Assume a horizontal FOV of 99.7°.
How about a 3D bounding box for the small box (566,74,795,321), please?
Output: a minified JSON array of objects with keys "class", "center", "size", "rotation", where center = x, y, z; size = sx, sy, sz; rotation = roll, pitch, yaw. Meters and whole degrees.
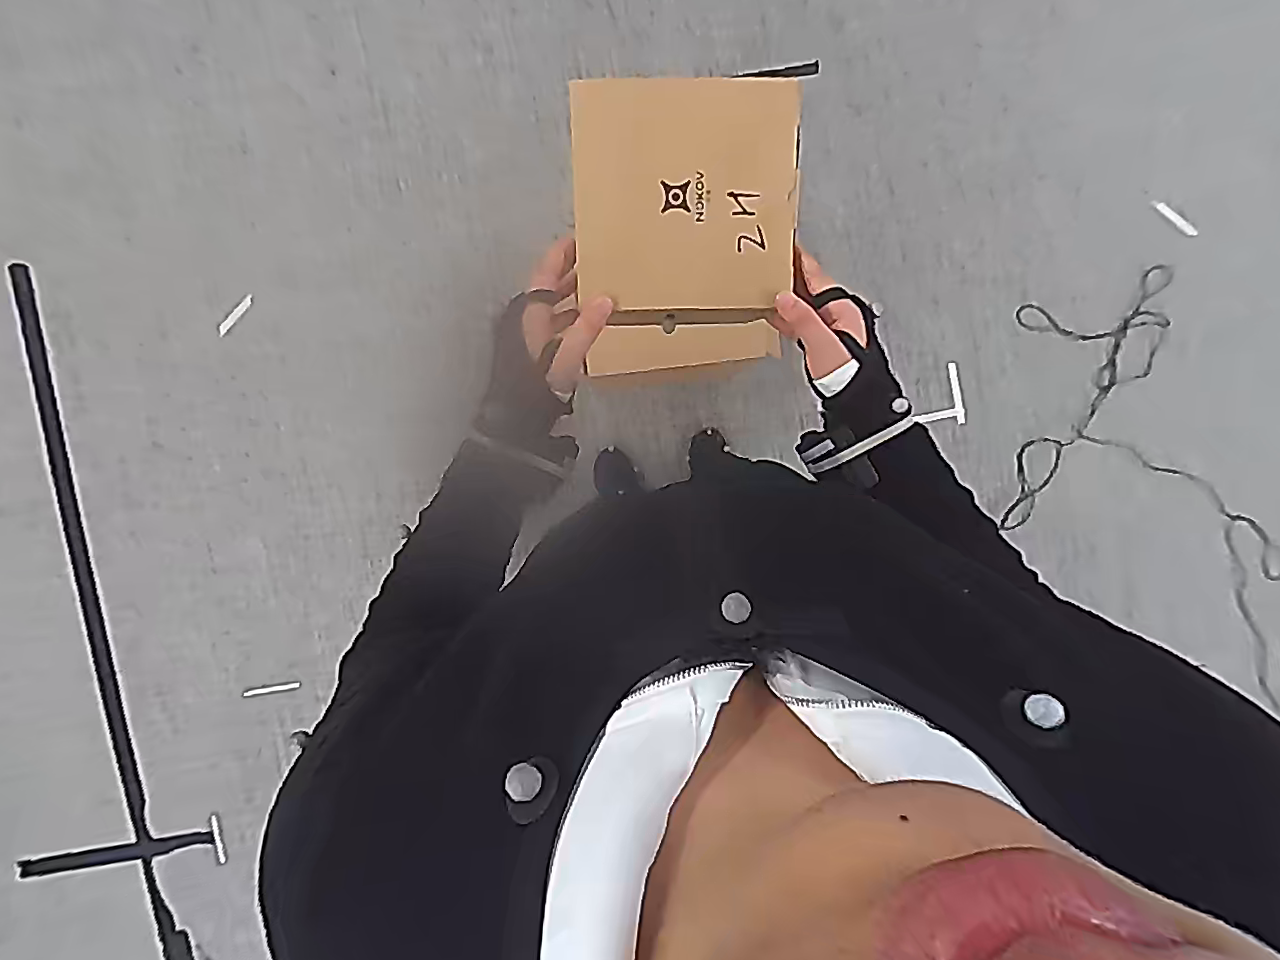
[{"class":"small box","center":[0.030,-0.240,0.500],"size":[0.179,0.176,0.168],"rotation":[-2,102,-2]}]
